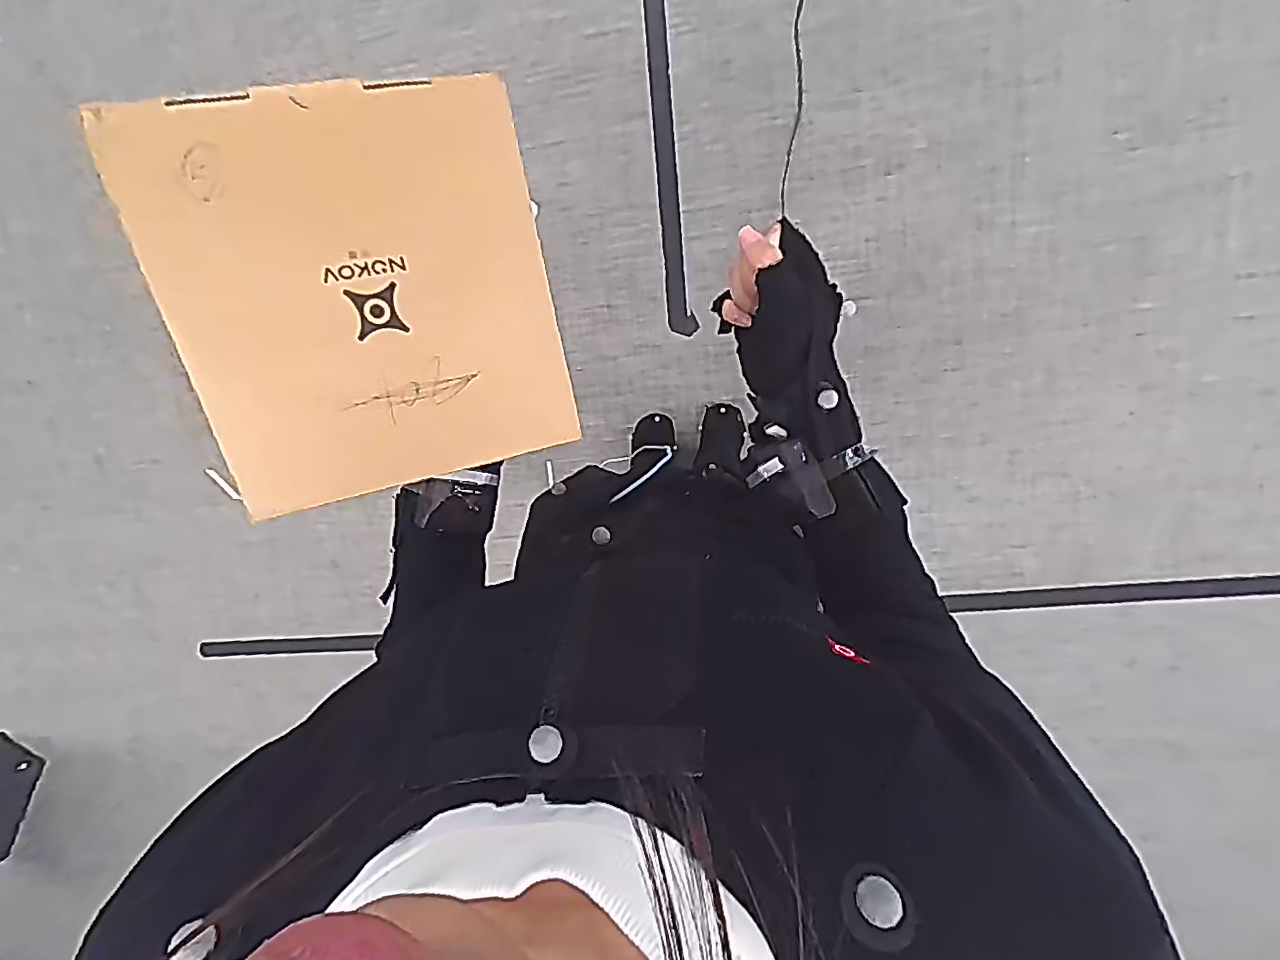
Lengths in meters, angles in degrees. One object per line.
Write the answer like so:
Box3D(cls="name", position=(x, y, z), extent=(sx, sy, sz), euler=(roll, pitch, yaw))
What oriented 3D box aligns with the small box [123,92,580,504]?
Box3D(cls="small box", position=(-0.149, -0.105, 0.340), extent=(0.168, 0.176, 0.179), euler=(-15, 108, -14))
